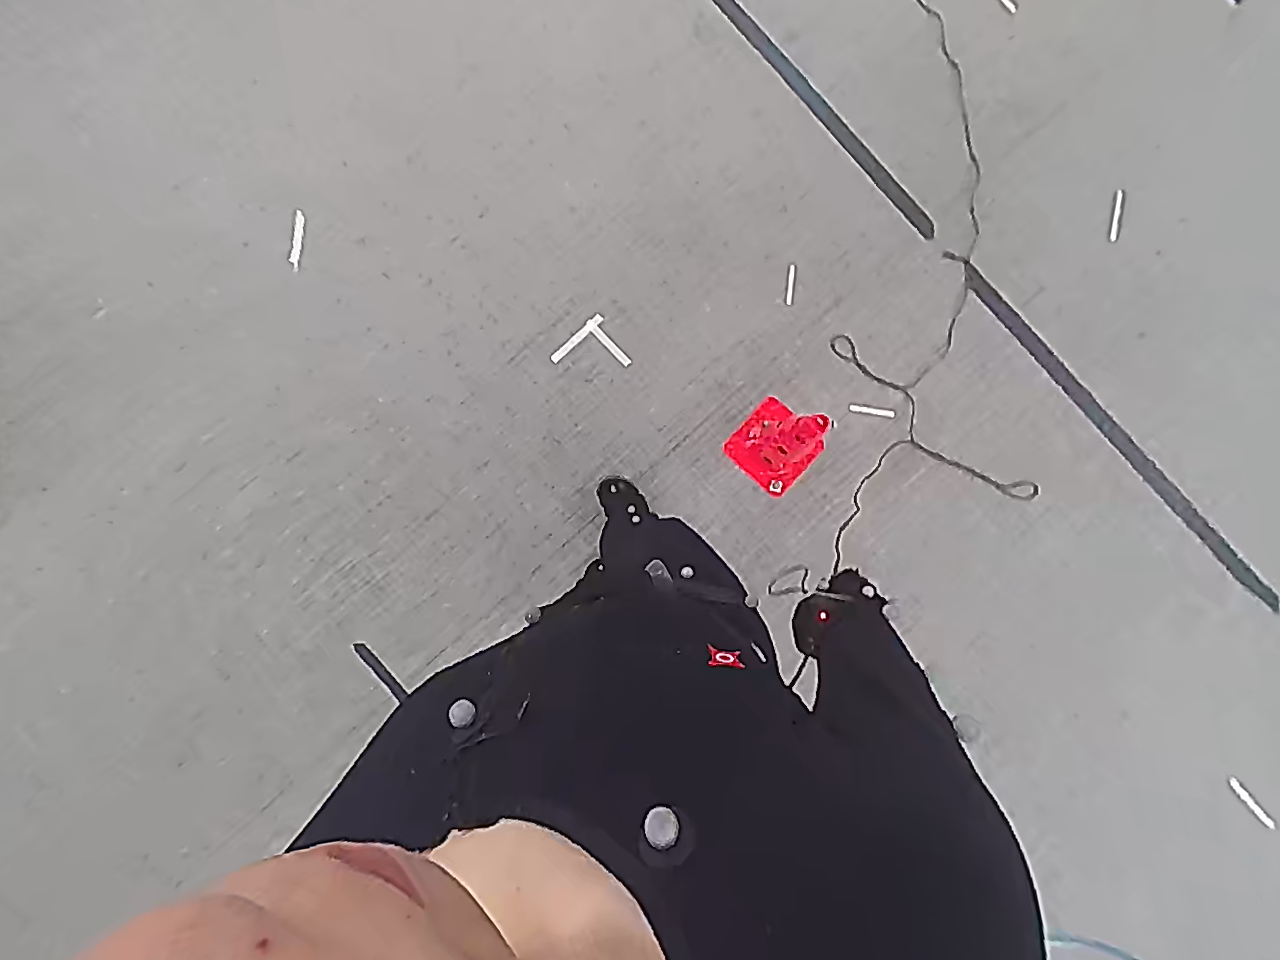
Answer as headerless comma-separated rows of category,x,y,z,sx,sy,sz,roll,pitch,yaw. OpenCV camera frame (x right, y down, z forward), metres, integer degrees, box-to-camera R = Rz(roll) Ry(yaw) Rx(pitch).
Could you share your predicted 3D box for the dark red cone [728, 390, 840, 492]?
dark red cone,0.349,-0.112,1.191,0.202,0.394,0.201,41,86,2
